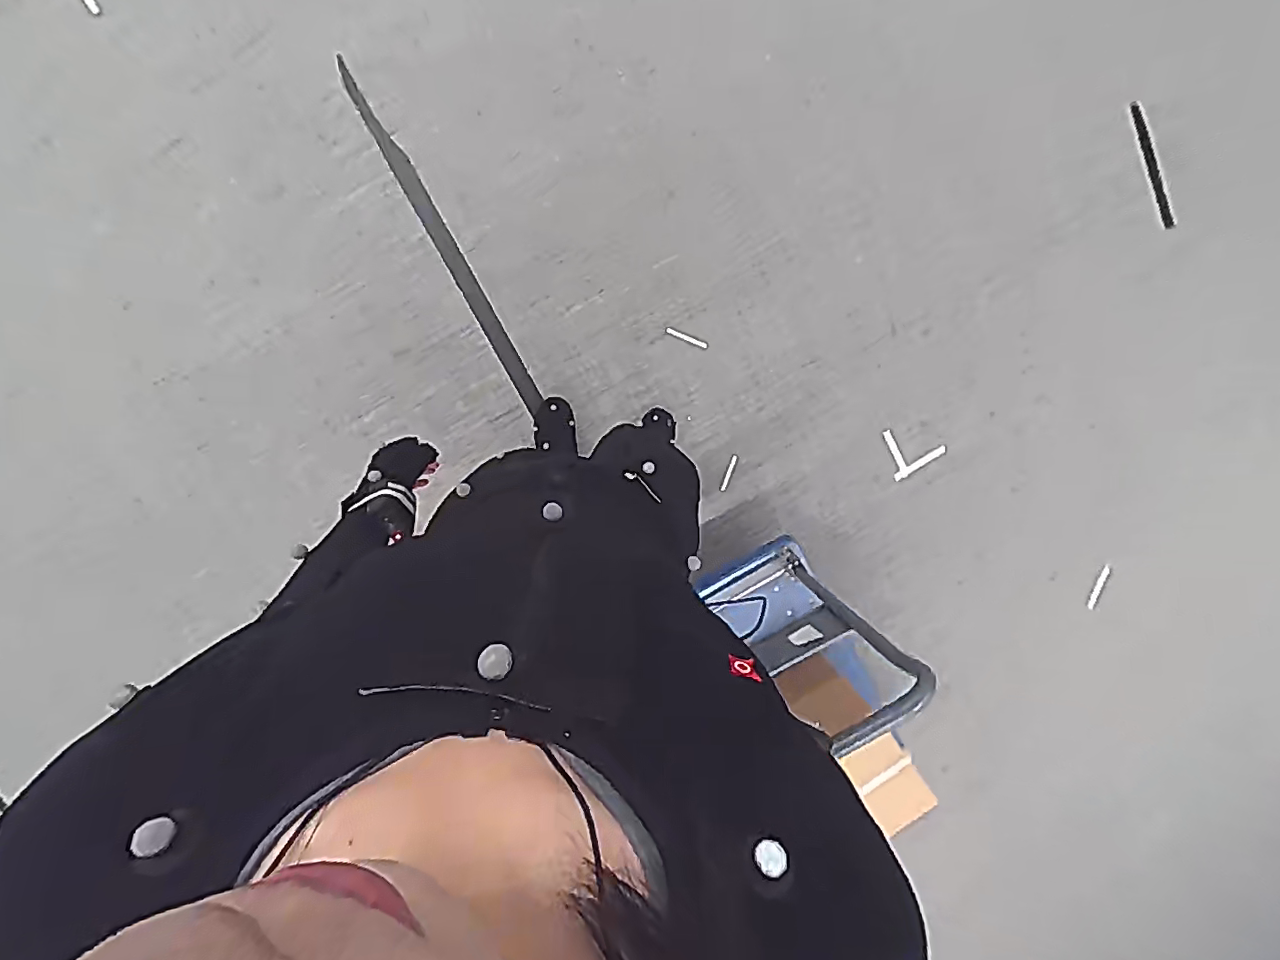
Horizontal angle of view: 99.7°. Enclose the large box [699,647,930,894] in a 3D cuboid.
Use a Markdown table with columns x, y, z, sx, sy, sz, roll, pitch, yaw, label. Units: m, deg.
| x | y | z | sx | sy | sz | roll | pitch | yaw | label |
| --- | --- | --- | --- | --- | --- | --- | --- | --- | --- |
| 0.419 | 0.714 | 1.379 | 0.408 | 0.320 | 0.320 | -36 | 102 | 2 | large box |
